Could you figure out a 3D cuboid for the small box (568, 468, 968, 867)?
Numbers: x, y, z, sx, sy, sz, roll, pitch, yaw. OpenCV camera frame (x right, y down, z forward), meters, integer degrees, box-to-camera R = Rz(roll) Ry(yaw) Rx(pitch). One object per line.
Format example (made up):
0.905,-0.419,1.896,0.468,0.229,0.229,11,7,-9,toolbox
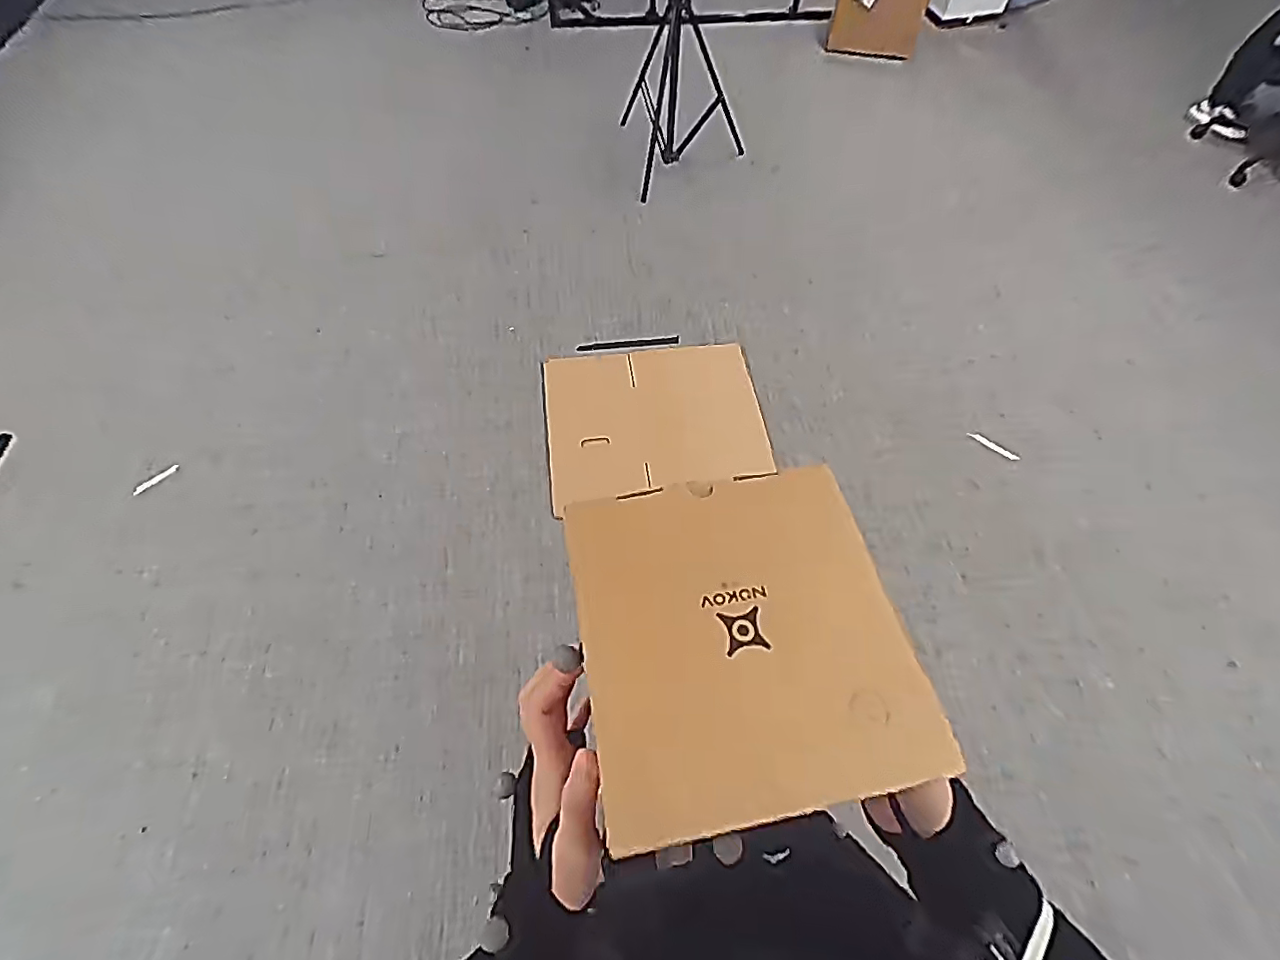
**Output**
0.052,0.119,0.343,0.168,0.176,0.179,-9,57,-7,small box
